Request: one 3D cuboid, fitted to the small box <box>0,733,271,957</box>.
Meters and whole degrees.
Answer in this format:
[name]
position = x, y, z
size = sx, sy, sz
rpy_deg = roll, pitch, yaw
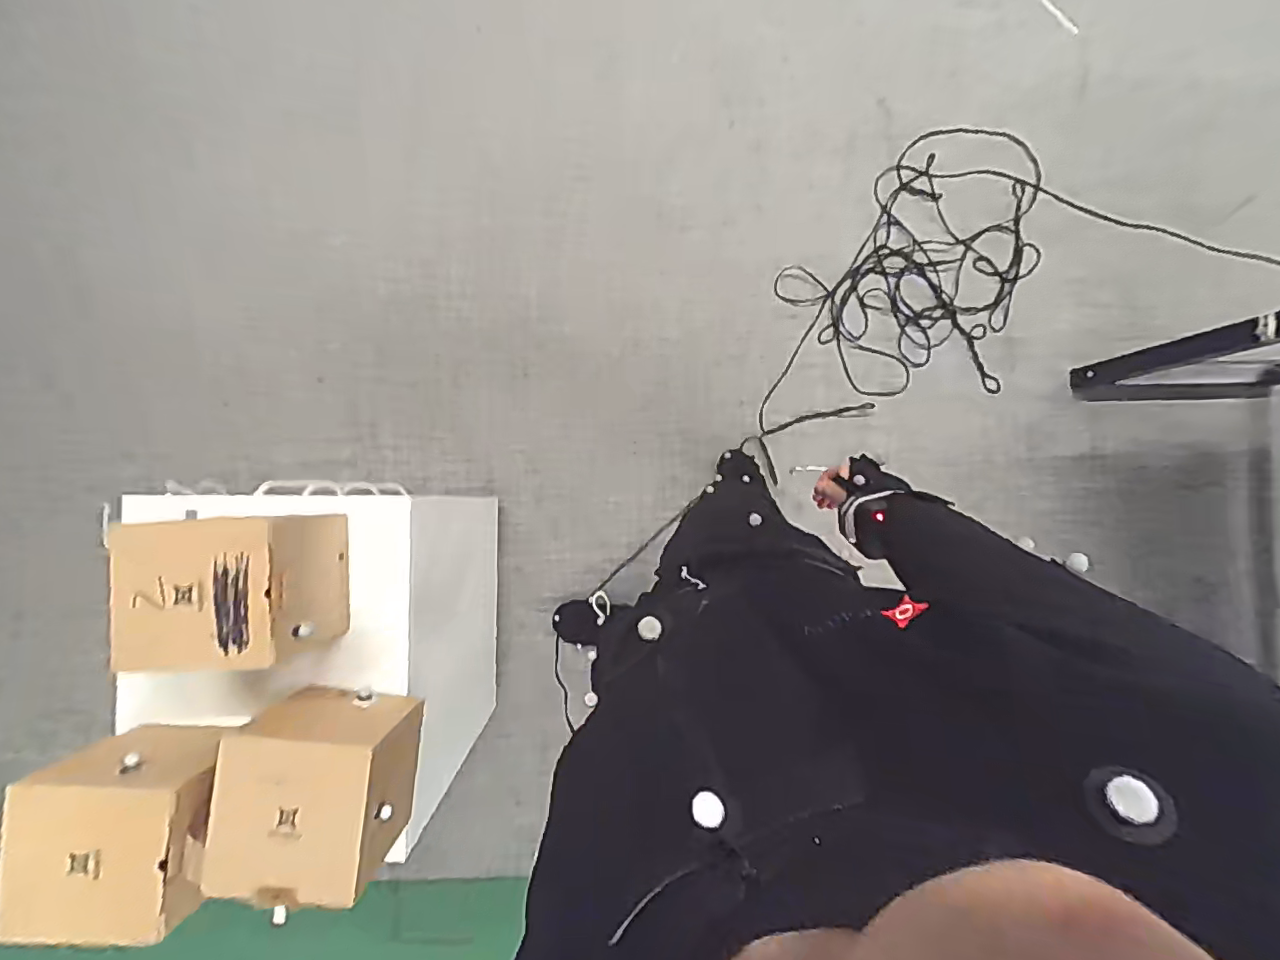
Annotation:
[small box]
position = -0.595, 0.423, 0.654
size = 0.179, 0.176, 0.168
rpy_deg = 3, 86, -3
